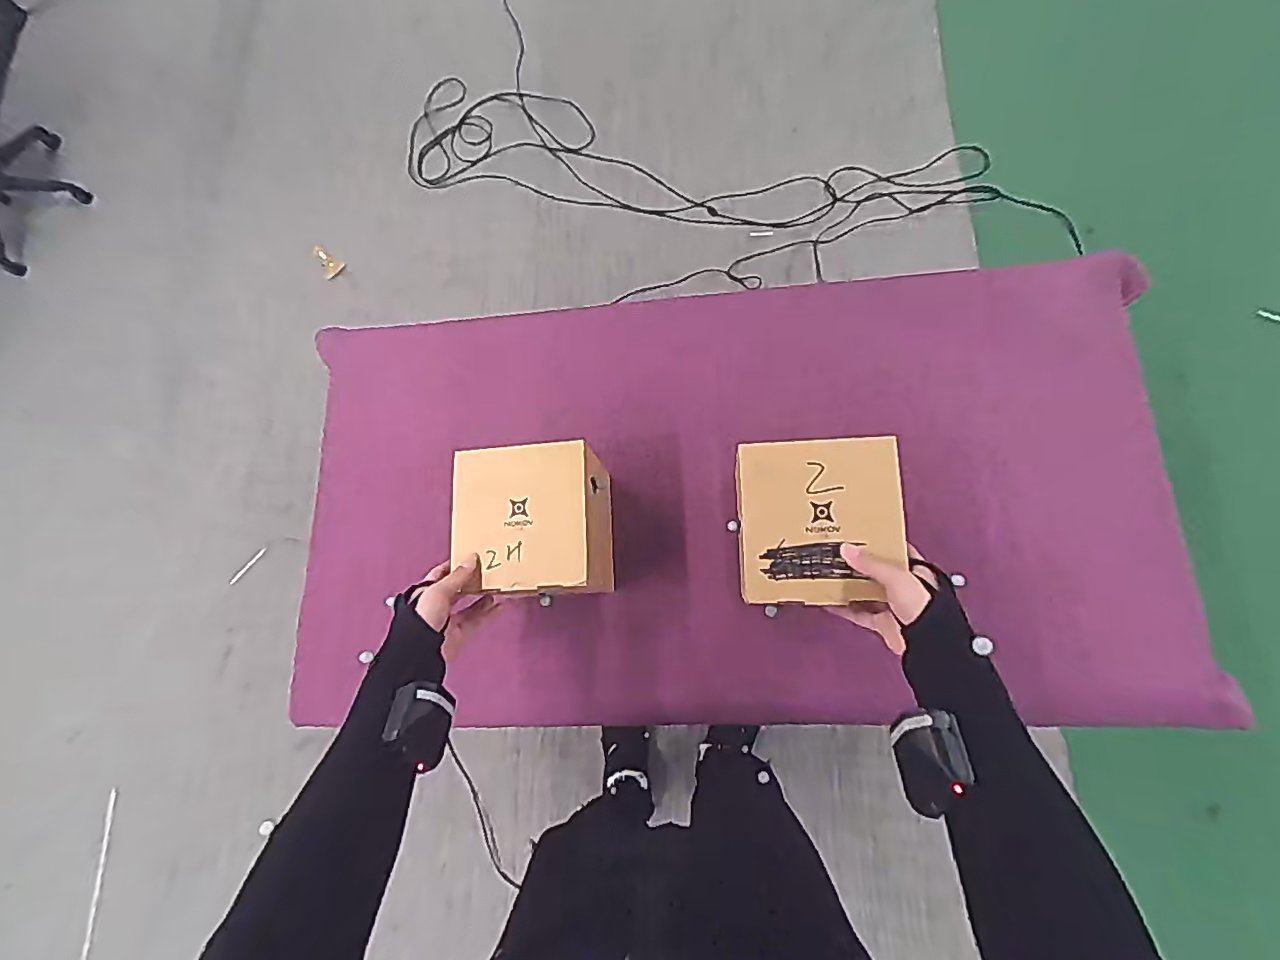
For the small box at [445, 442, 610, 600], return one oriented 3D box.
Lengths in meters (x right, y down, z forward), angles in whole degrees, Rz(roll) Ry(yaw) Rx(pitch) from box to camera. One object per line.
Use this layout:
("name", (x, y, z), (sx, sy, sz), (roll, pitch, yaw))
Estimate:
("small box", (-0.135, 0.062, 0.706), (0.168, 0.176, 0.179), (-4, 76, 7))
